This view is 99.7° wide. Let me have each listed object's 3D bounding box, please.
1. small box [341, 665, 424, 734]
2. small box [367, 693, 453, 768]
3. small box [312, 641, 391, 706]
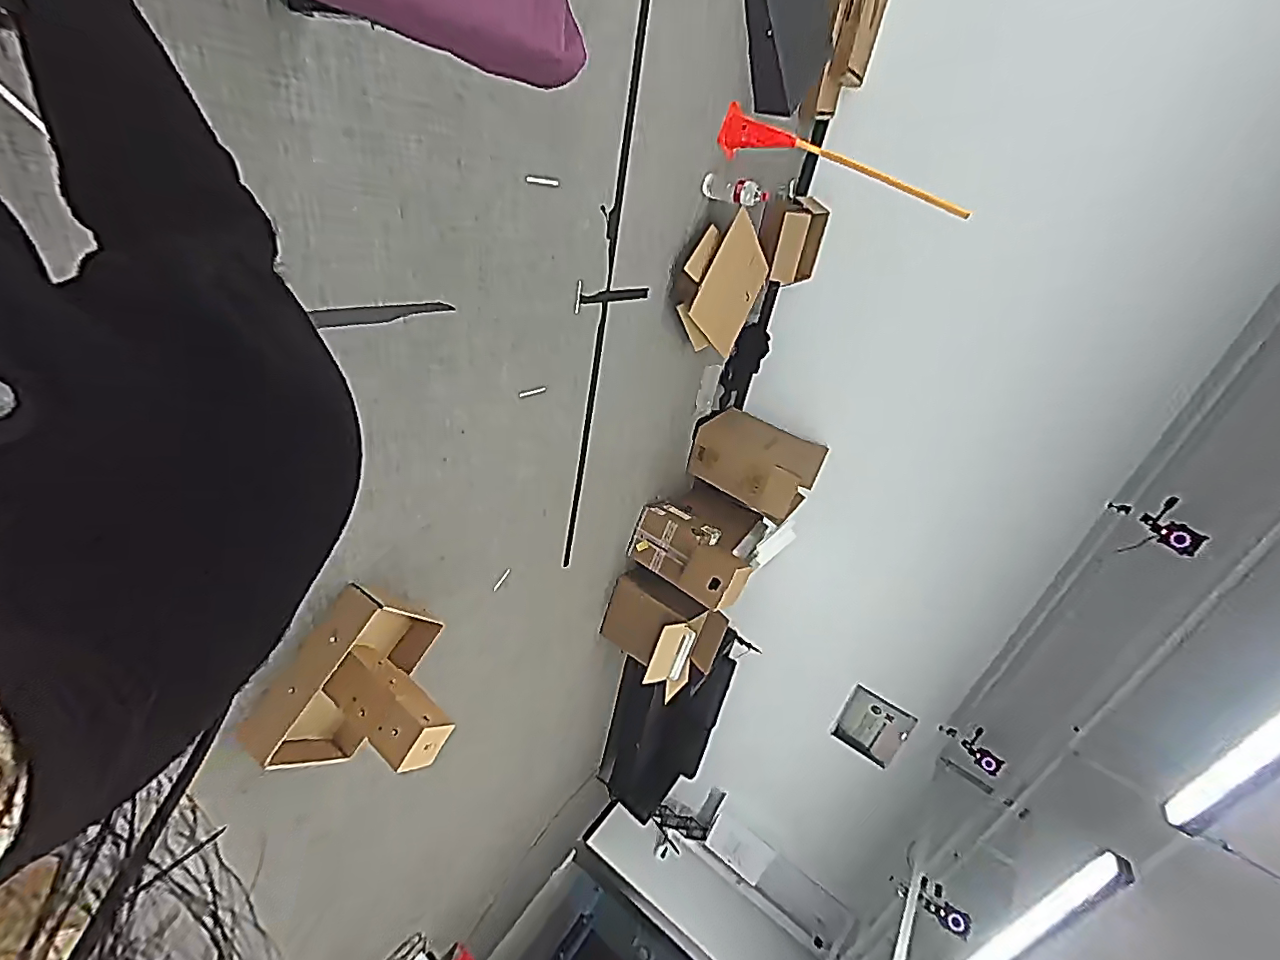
[{"bbox_3d":[-0.928,0.784,1.945,0.168,0.176,0.179,-57,156,-7],"label":"small box"},{"bbox_3d":[-0.799,0.860,1.875,0.168,0.176,0.179,-57,155,-6],"label":"small box"},{"bbox_3d":[-1.062,0.718,2.010,0.168,0.176,0.179,-57,154,-11],"label":"small box"}]
